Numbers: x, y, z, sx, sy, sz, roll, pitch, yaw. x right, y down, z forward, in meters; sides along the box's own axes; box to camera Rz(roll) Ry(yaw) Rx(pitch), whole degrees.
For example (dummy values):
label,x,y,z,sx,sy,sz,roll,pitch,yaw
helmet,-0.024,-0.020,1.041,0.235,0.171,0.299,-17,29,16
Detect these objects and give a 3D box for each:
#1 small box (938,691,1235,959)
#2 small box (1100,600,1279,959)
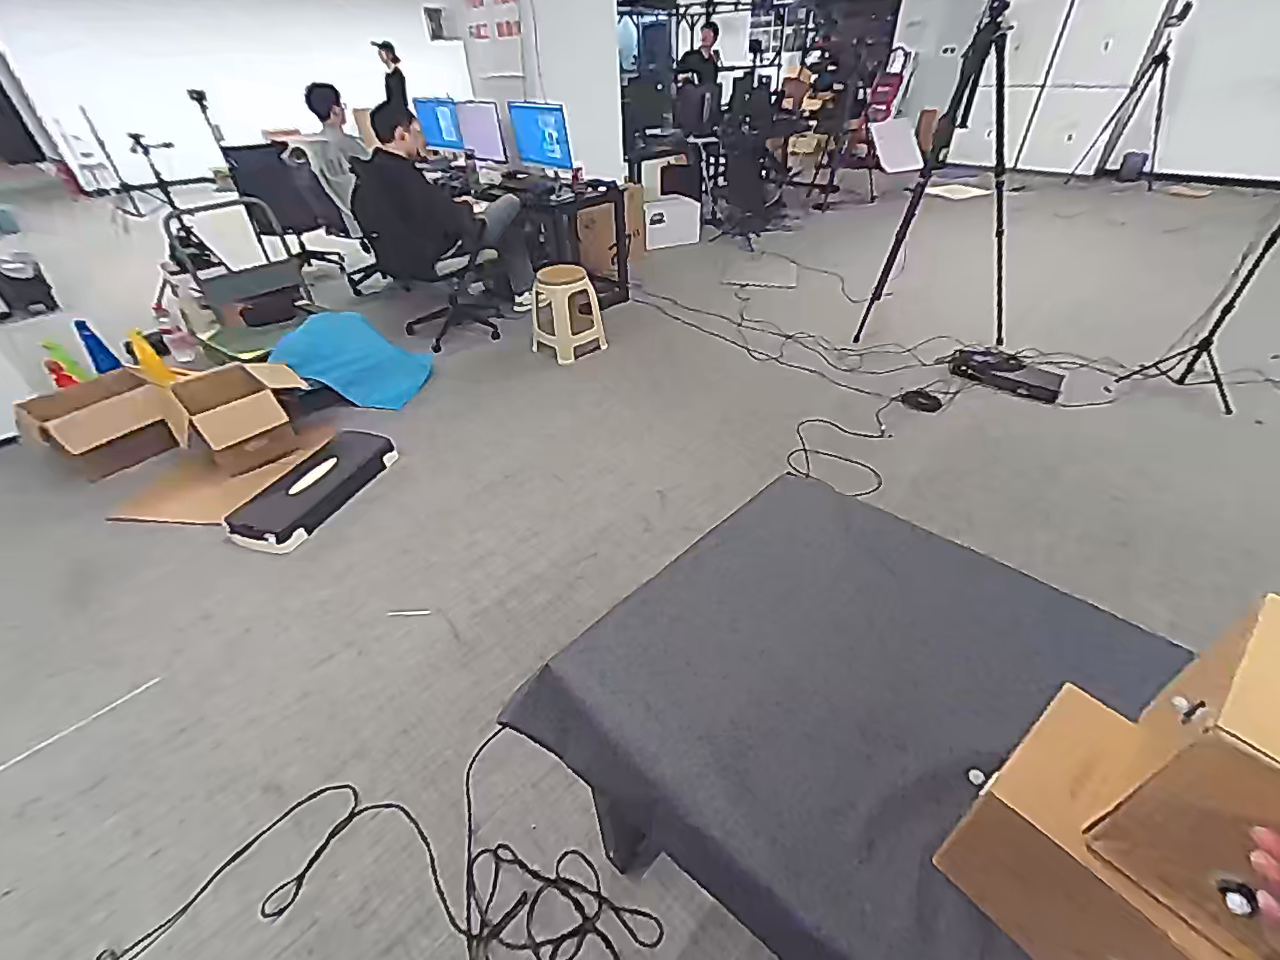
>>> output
label,x,y,z,sx,sy,sz,roll,pitch,yaw
small box,0.411,0.339,0.483,0.168,0.176,0.179,-25,42,-29
small box,0.462,0.223,0.363,0.179,0.176,0.168,-26,43,-31
